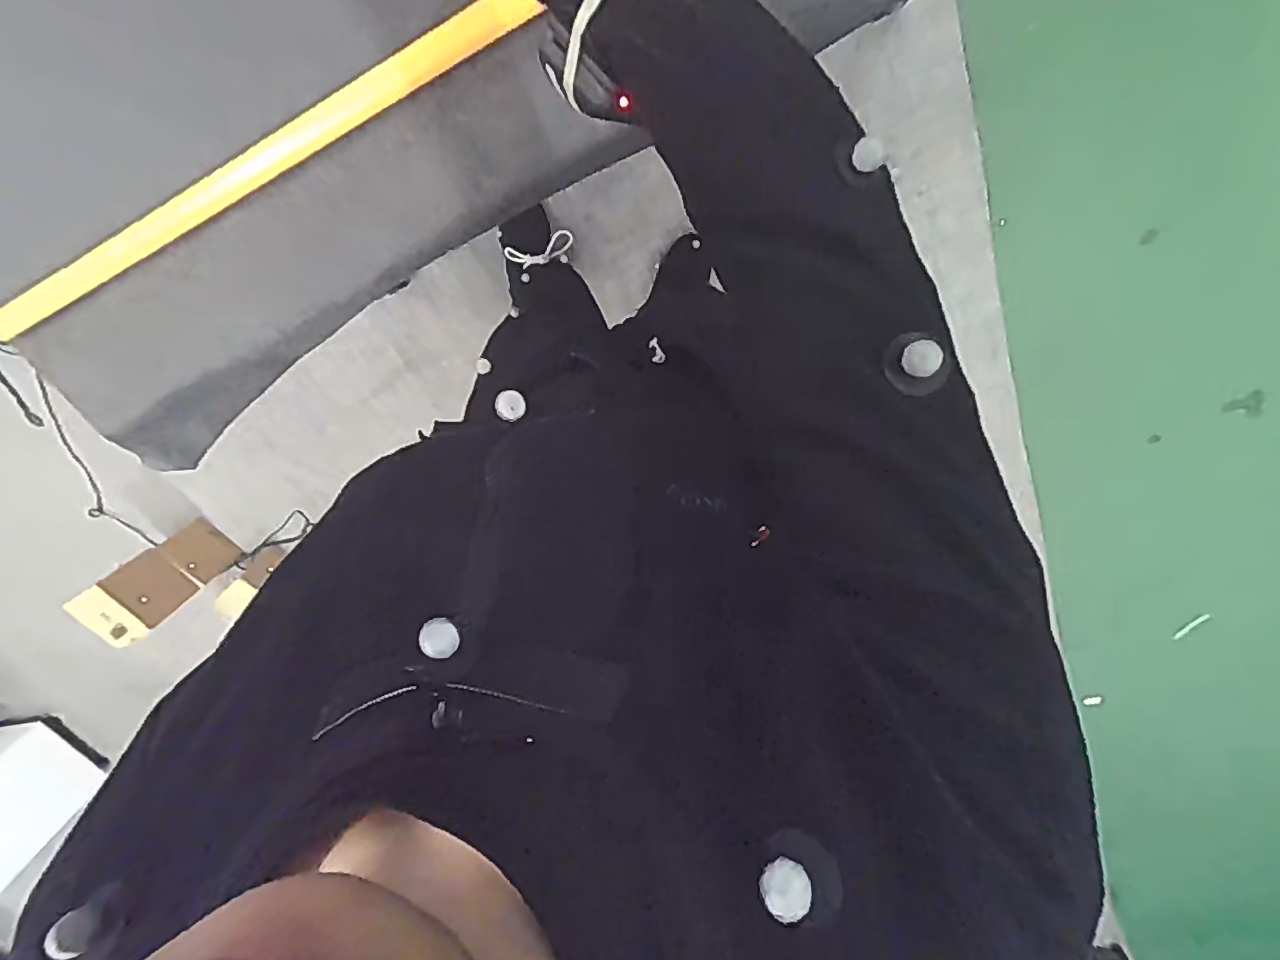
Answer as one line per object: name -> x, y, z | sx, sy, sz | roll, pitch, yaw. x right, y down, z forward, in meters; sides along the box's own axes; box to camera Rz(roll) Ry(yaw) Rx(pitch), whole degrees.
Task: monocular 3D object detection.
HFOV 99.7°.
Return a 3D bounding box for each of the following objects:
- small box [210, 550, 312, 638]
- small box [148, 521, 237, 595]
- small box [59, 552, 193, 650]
small box -> -1.166, 0.348, 1.681 | 0.179, 0.176, 0.168 | -36, 110, 23
small box -> -1.388, 0.256, 1.644 | 0.179, 0.176, 0.168 | -30, 113, 20
small box -> -1.410, 0.332, 1.498 | 0.168, 0.176, 0.179 | -25, 114, 17
